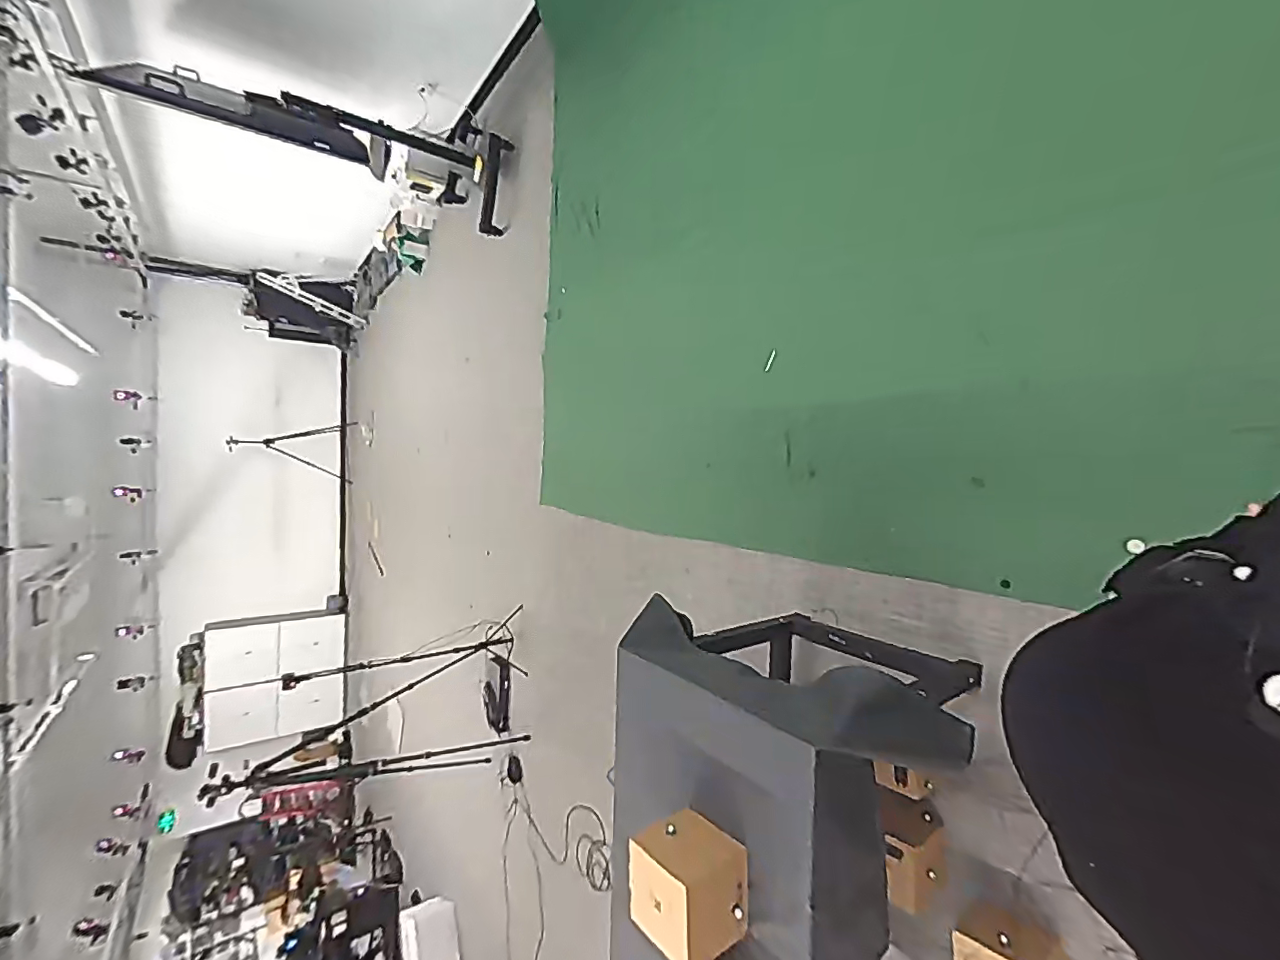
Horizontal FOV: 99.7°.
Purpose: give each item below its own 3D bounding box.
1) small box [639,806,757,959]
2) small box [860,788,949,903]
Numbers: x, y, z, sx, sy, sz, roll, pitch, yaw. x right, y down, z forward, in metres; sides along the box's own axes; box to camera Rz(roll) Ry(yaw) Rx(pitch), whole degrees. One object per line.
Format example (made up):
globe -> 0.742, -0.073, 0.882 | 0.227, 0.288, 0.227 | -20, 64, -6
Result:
small box -> 0.115, 0.795, 1.088 | 0.179, 0.176, 0.168 | 0, 92, 53
small box -> 0.728, 0.989, 1.485 | 0.168, 0.176, 0.179 | 1, 93, 53
